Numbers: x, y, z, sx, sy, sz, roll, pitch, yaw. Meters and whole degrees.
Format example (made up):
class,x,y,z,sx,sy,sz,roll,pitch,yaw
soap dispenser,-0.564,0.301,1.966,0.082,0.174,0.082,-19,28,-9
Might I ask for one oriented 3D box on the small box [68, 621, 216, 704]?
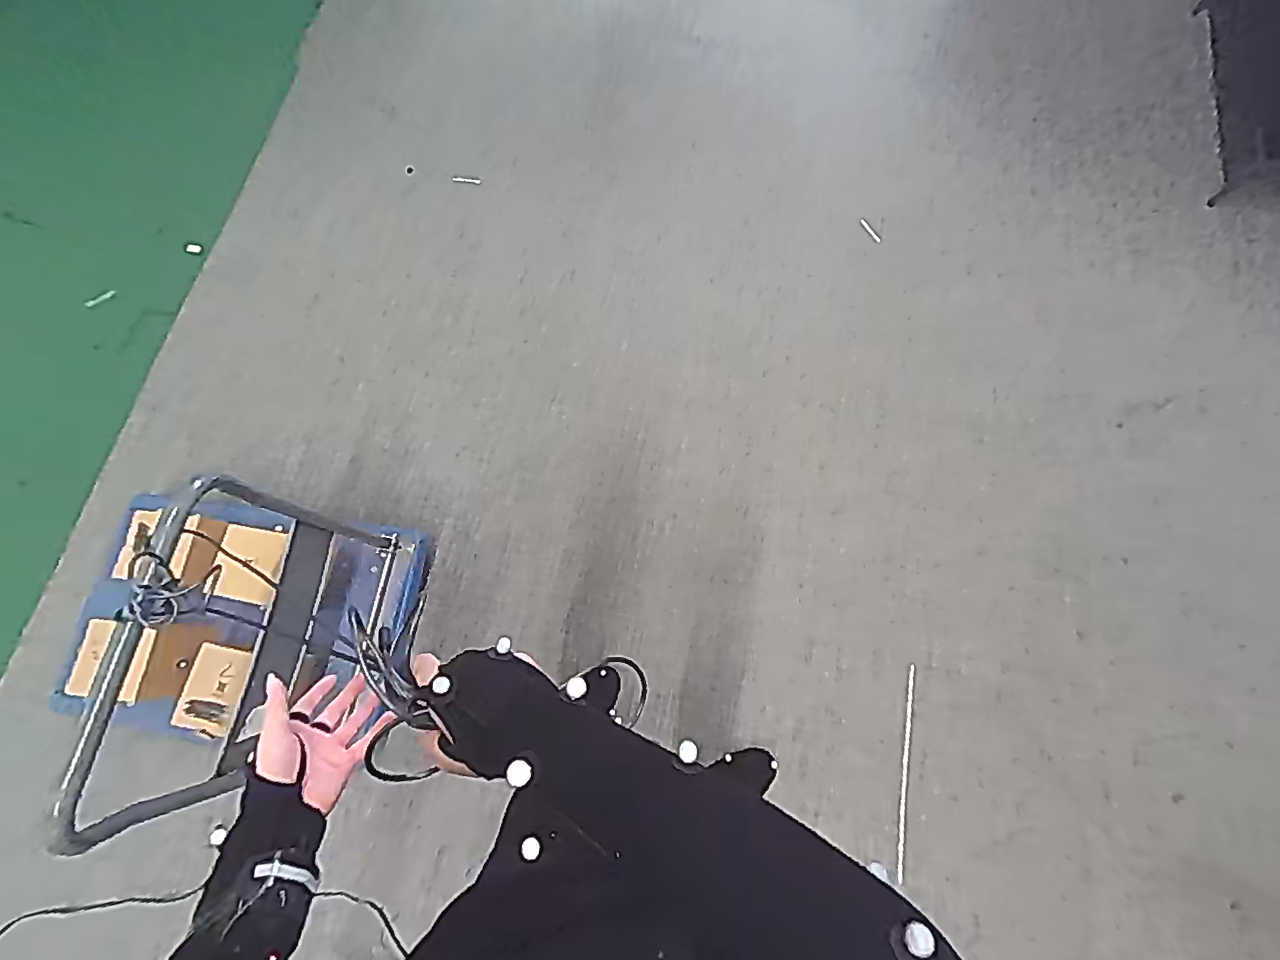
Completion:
class,x,y,z,sx,sy,sz,roll,pitch,yaw
small box,-1.172,0.430,1.290,0.179,0.176,0.168,4,73,6

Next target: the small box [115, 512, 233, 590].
class,x,y,z,sx,sy,sz,roll,pitch,yaw
small box,-1.134,0.186,1.358,0.179,0.176,0.168,5,75,6

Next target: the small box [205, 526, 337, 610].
class,x,y,z,sx,sy,sz,roll,pitch,yaw
small box,-0.893,0.221,1.326,0.179,0.176,0.168,9,75,7
